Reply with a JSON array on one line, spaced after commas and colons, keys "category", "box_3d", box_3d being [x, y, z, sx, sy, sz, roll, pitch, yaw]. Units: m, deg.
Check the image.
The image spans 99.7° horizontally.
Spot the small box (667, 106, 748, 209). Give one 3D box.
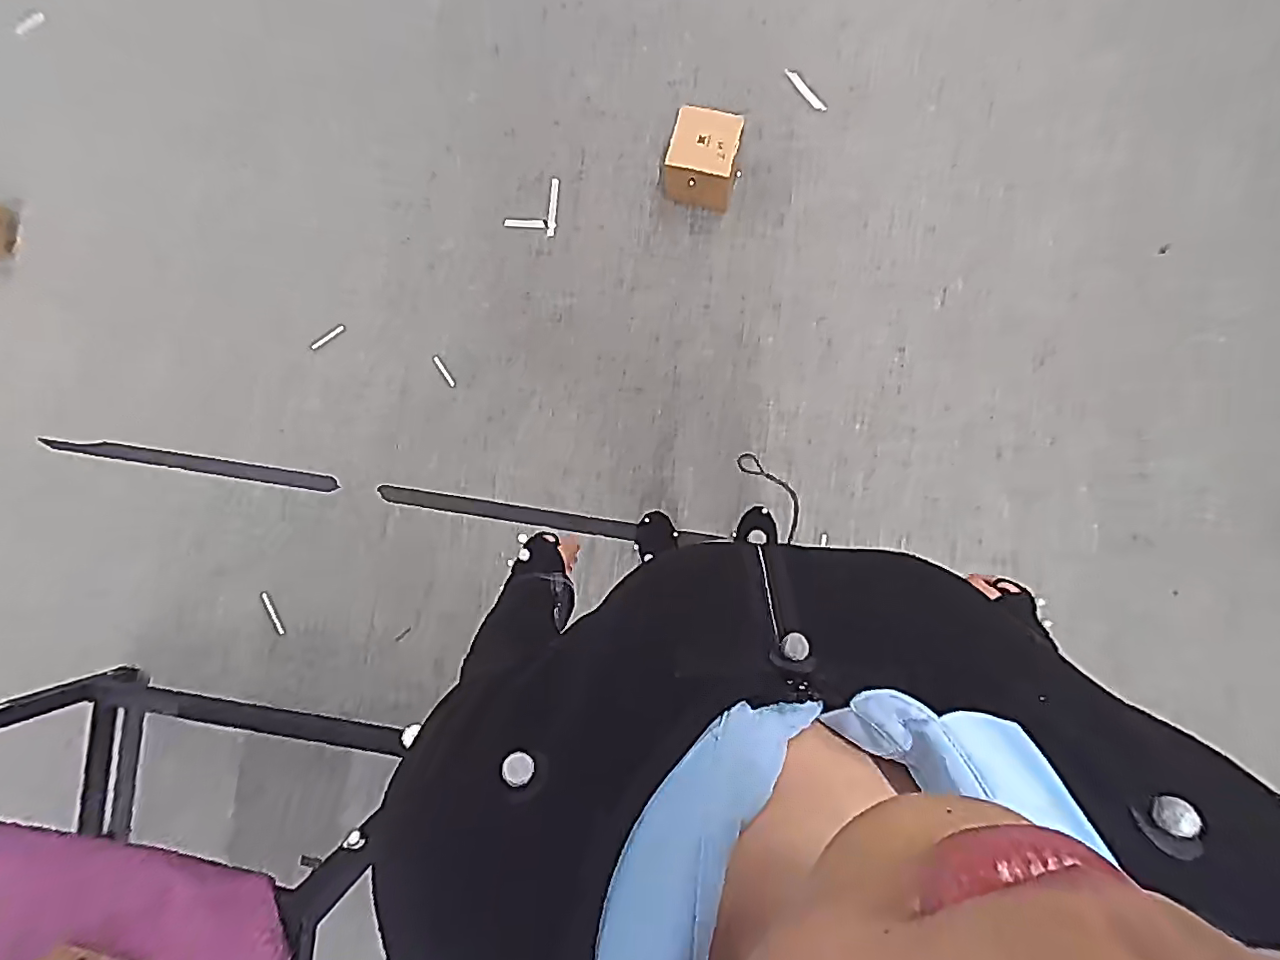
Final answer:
[{"category": "small box", "box_3d": [0.183, -0.871, 1.475, 0.179, 0.176, 0.168, 17, 90, 7]}]

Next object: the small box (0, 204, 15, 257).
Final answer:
[{"category": "small box", "box_3d": [-2.197, -0.835, 1.749, 0.179, 0.176, 0.168, 0, 88, 7]}]
